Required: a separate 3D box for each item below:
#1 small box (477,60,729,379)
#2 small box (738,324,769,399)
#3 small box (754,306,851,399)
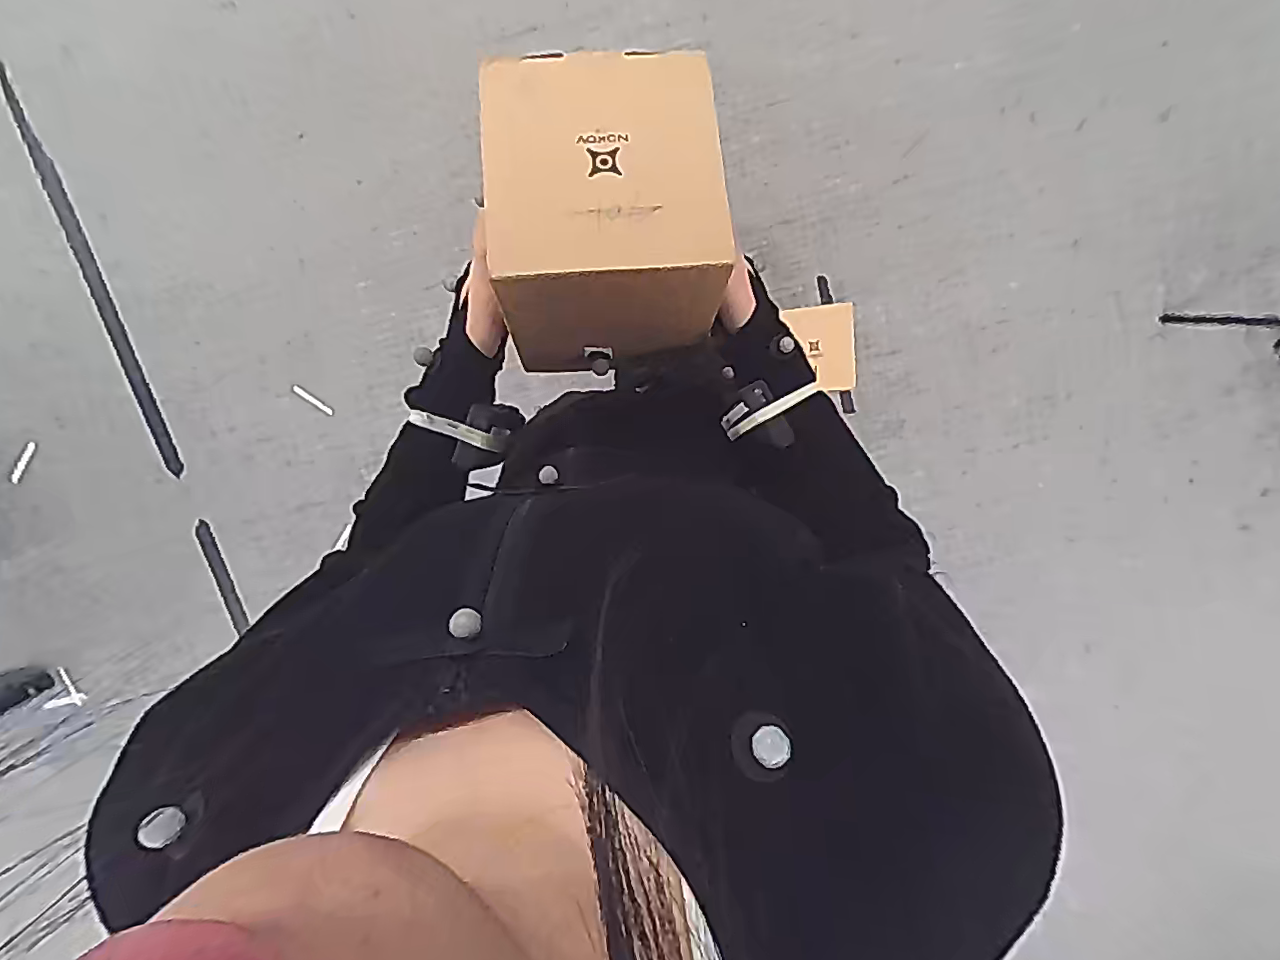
[{"bbox_3d":[-0.032,-0.203,0.456,0.168,0.176,0.179,-6,79,-3],"label":"small box"},{"bbox_3d":[0.346,-0.305,1.349,0.168,0.176,0.179,-9,101,3],"label":"small box"},{"bbox_3d":[0.350,-0.275,1.187,0.168,0.176,0.179,-6,101,3],"label":"small box"}]
